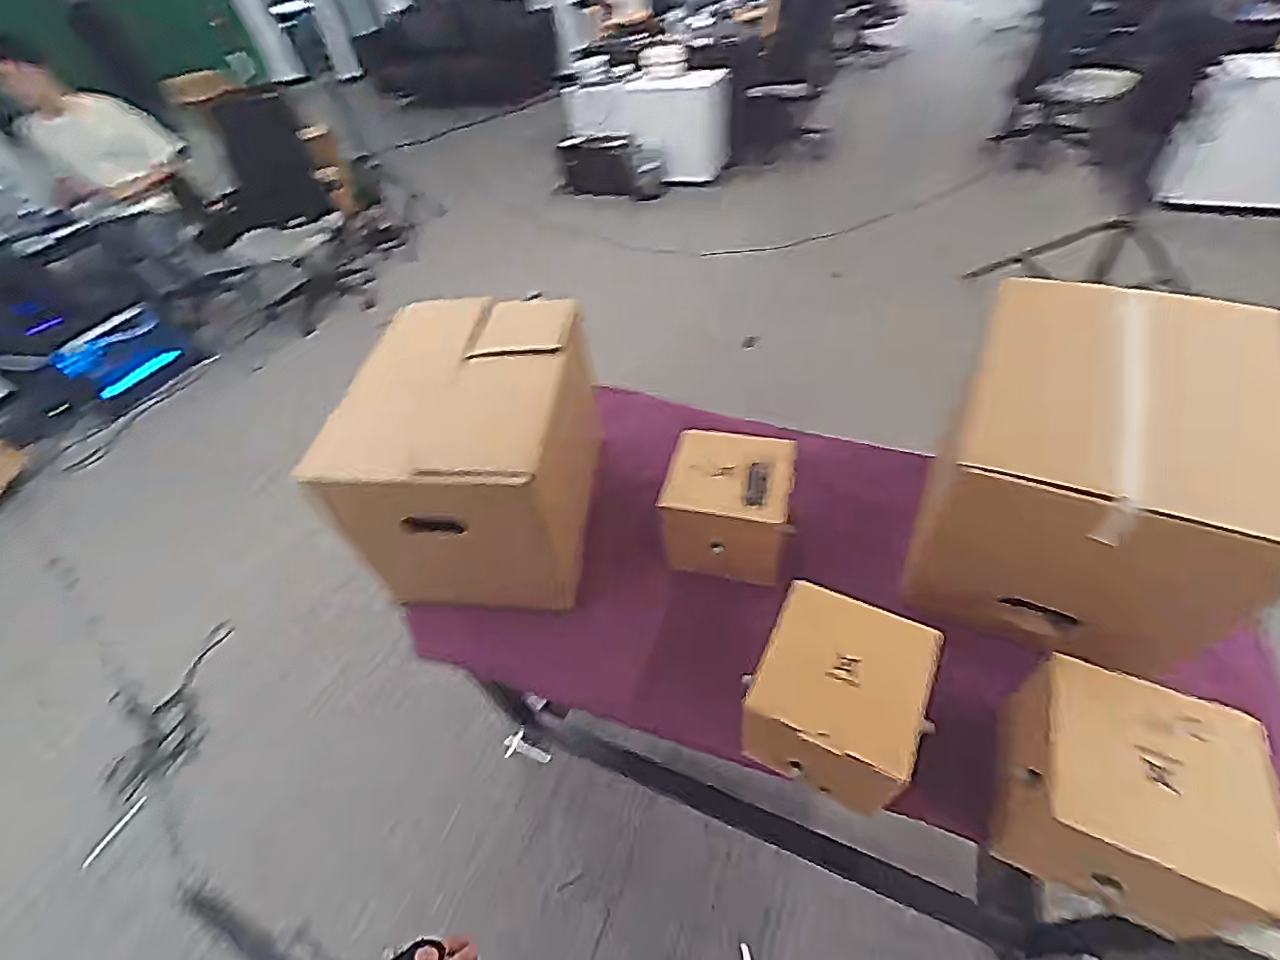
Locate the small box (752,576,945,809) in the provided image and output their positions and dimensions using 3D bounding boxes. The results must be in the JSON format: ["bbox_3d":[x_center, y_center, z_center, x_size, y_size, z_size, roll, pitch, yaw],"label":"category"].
[{"bbox_3d":[0.239,0.253,0.649,0.168,0.176,0.179,19,54,24],"label":"small box"}]

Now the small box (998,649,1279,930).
[{"bbox_3d":[0.489,0.313,0.550,0.168,0.176,0.179,17,51,23],"label":"small box"}]
